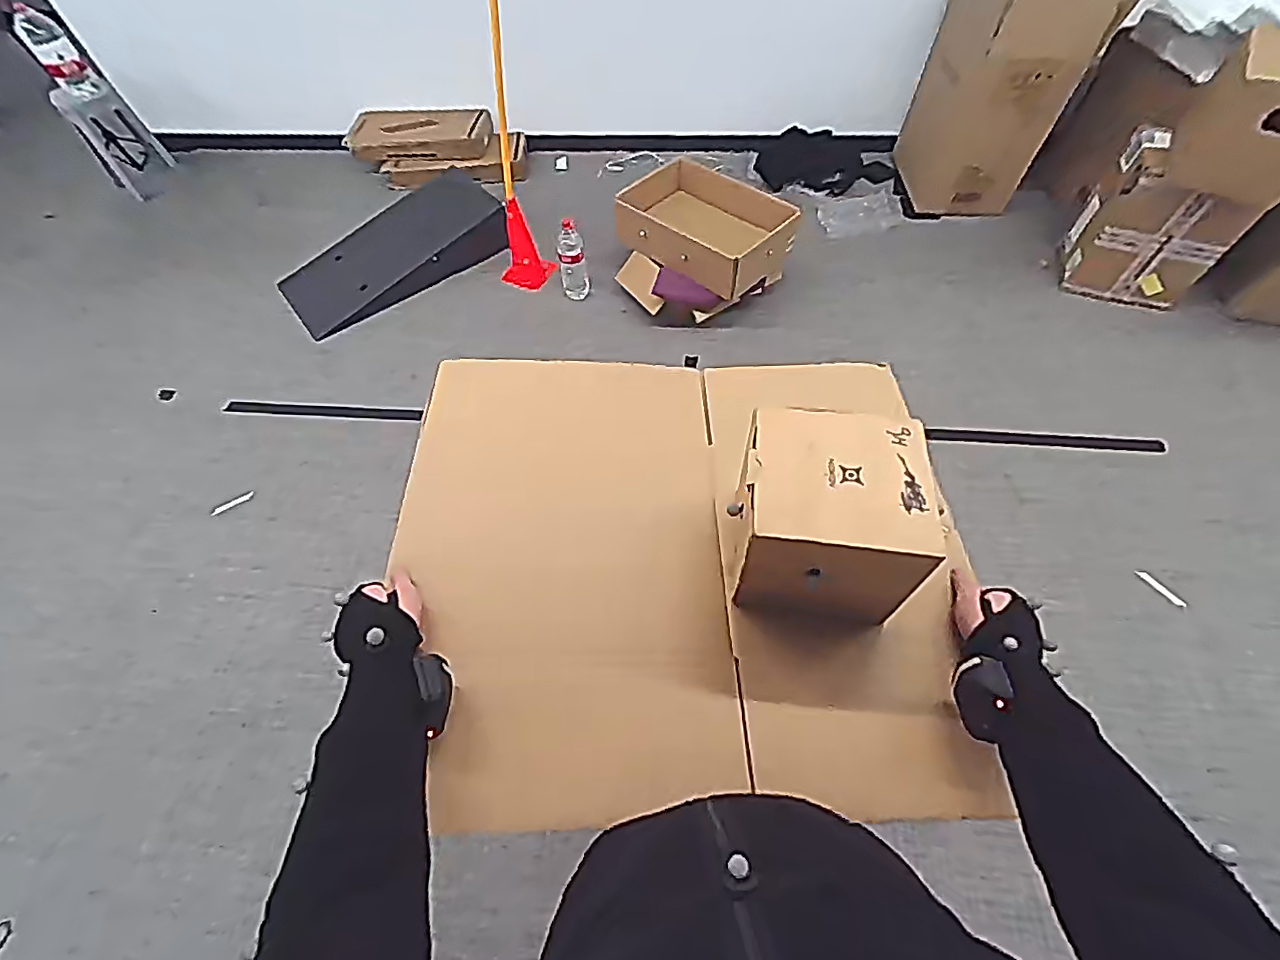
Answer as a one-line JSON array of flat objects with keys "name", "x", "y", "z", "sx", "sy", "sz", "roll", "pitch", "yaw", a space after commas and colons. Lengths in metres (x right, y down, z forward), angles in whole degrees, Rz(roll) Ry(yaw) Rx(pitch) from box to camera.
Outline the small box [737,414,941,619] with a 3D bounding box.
[{"name": "small box", "x": 0.206, "y": 0.046, "z": 0.612, "sx": 0.179, "sy": 0.176, "sz": 0.168, "roll": 5, "pitch": 56, "yaw": 7}]
